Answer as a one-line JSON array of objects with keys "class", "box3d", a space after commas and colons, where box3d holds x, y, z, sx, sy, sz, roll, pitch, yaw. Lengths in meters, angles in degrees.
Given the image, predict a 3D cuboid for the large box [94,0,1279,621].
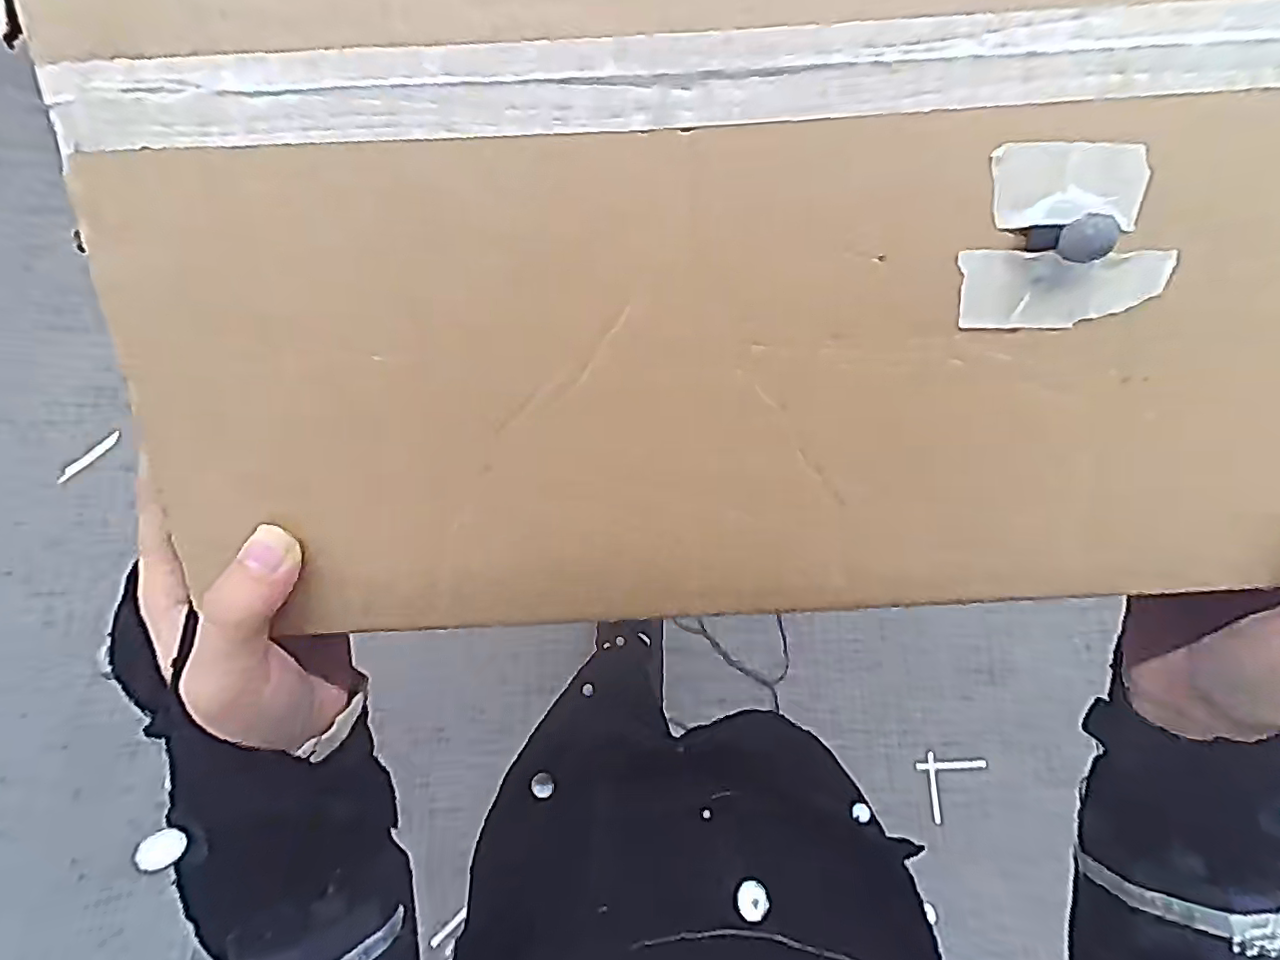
[{"class": "large box", "box3d": [0.044, -0.145, 0.302, 0.408, 0.320, 0.320, -3, 104, -1]}]
